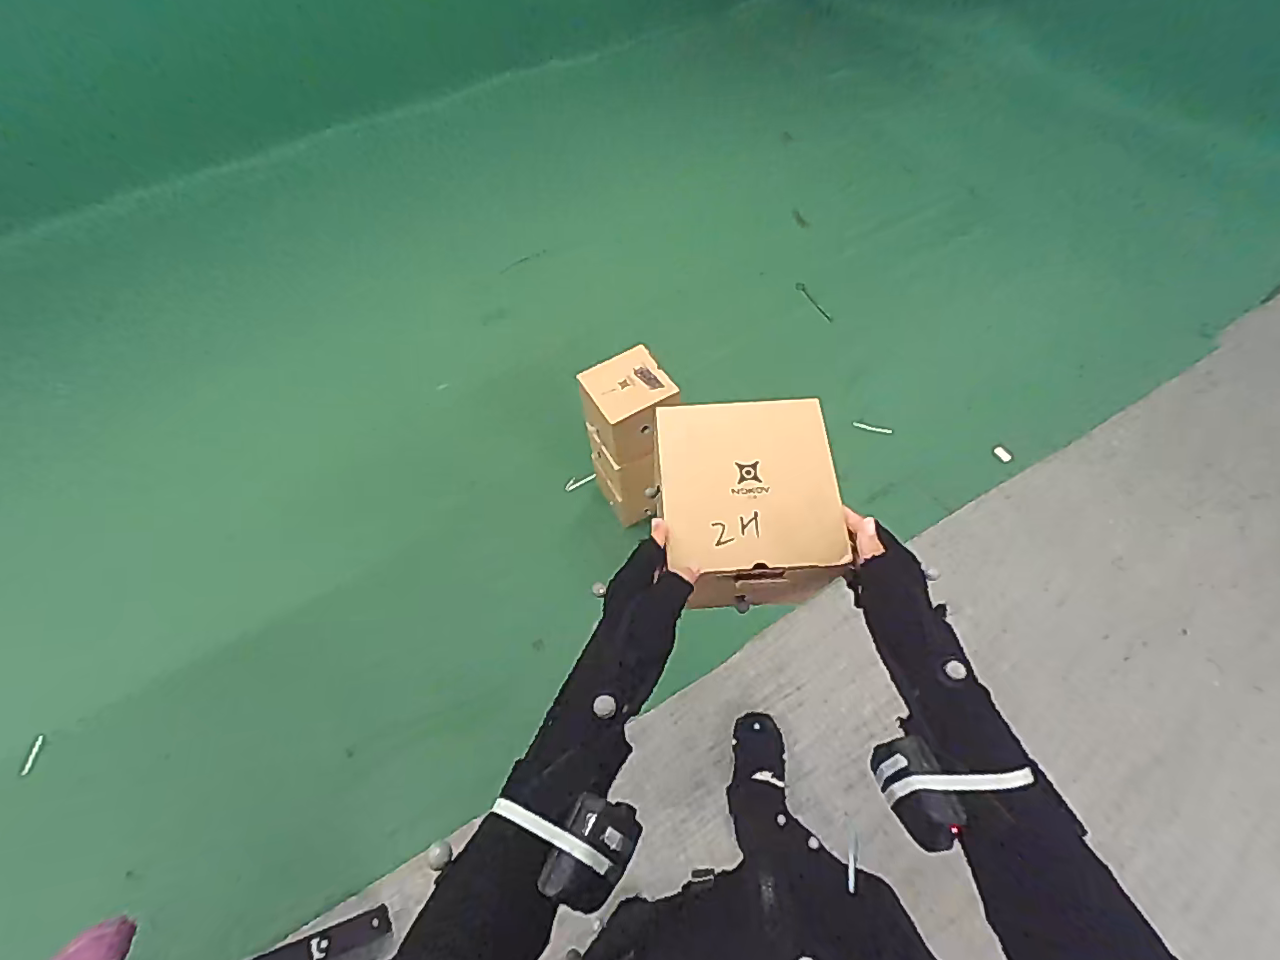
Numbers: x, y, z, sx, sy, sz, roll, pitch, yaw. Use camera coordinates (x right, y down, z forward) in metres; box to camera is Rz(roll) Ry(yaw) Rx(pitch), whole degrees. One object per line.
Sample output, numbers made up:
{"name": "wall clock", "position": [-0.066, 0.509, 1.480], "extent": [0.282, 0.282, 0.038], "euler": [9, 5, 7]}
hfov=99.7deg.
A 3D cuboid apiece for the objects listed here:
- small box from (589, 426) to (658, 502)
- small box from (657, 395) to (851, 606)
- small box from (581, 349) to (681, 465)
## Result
{"name": "small box", "position": [-0.011, -0.072, 1.398], "extent": [0.179, 0.176, 0.168], "euler": [-27, 62, -13]}
{"name": "small box", "position": [0.104, 0.030, 0.584], "extent": [0.168, 0.176, 0.179], "euler": [-4, 67, 1]}
{"name": "small box", "position": [-0.020, -0.167, 1.261], "extent": [0.179, 0.176, 0.168], "euler": [-25, 60, -12]}
